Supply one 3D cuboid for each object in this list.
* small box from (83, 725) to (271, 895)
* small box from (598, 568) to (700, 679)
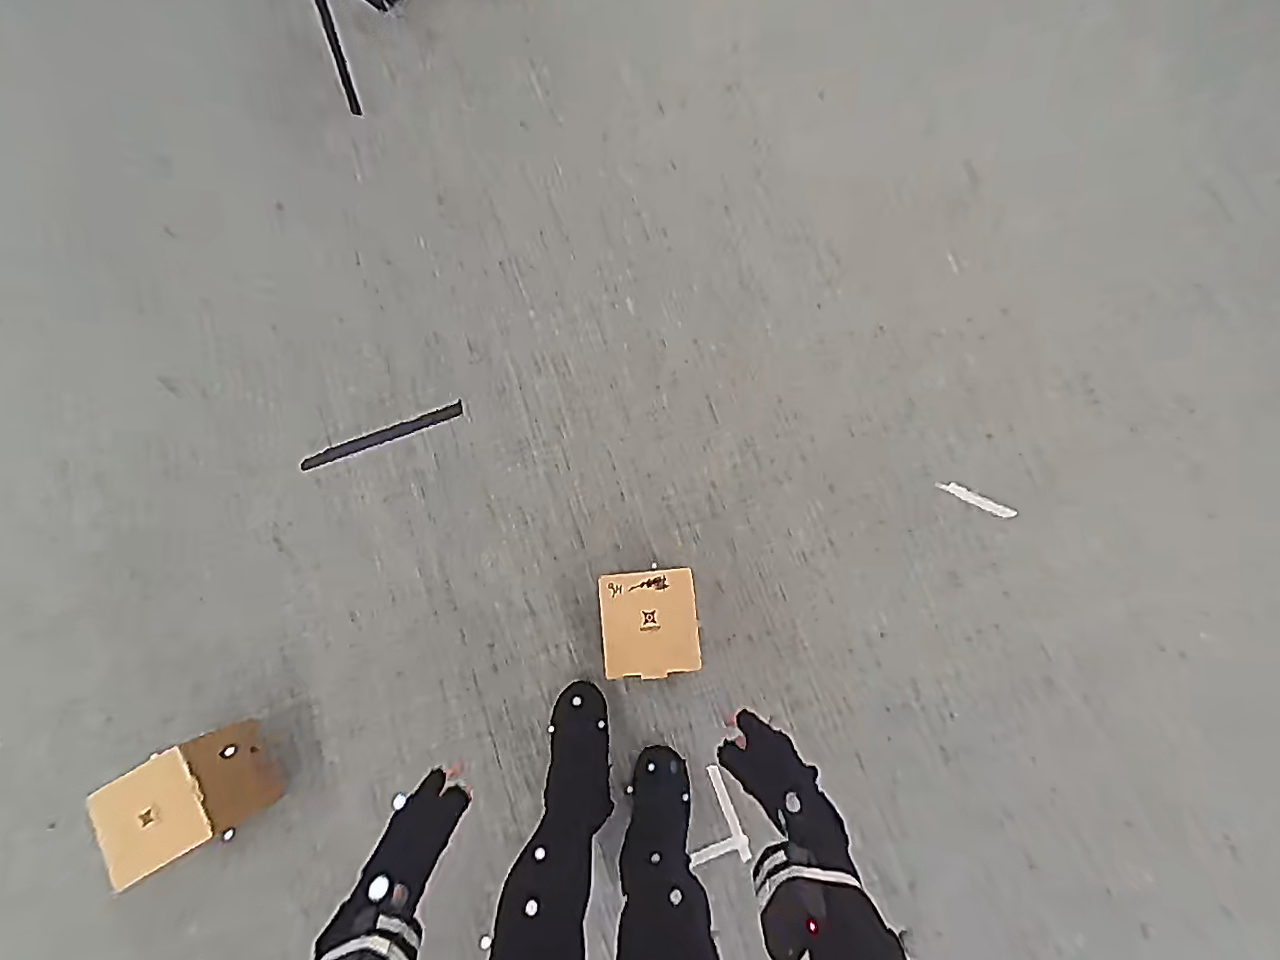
[{"bbox_3d":[-0.800,0.566,0.959,0.179,0.176,0.168,-31,79,-3],"label":"small box"},{"bbox_3d":[0.017,0.255,0.996,0.168,0.176,0.179,-5,80,0],"label":"small box"}]
